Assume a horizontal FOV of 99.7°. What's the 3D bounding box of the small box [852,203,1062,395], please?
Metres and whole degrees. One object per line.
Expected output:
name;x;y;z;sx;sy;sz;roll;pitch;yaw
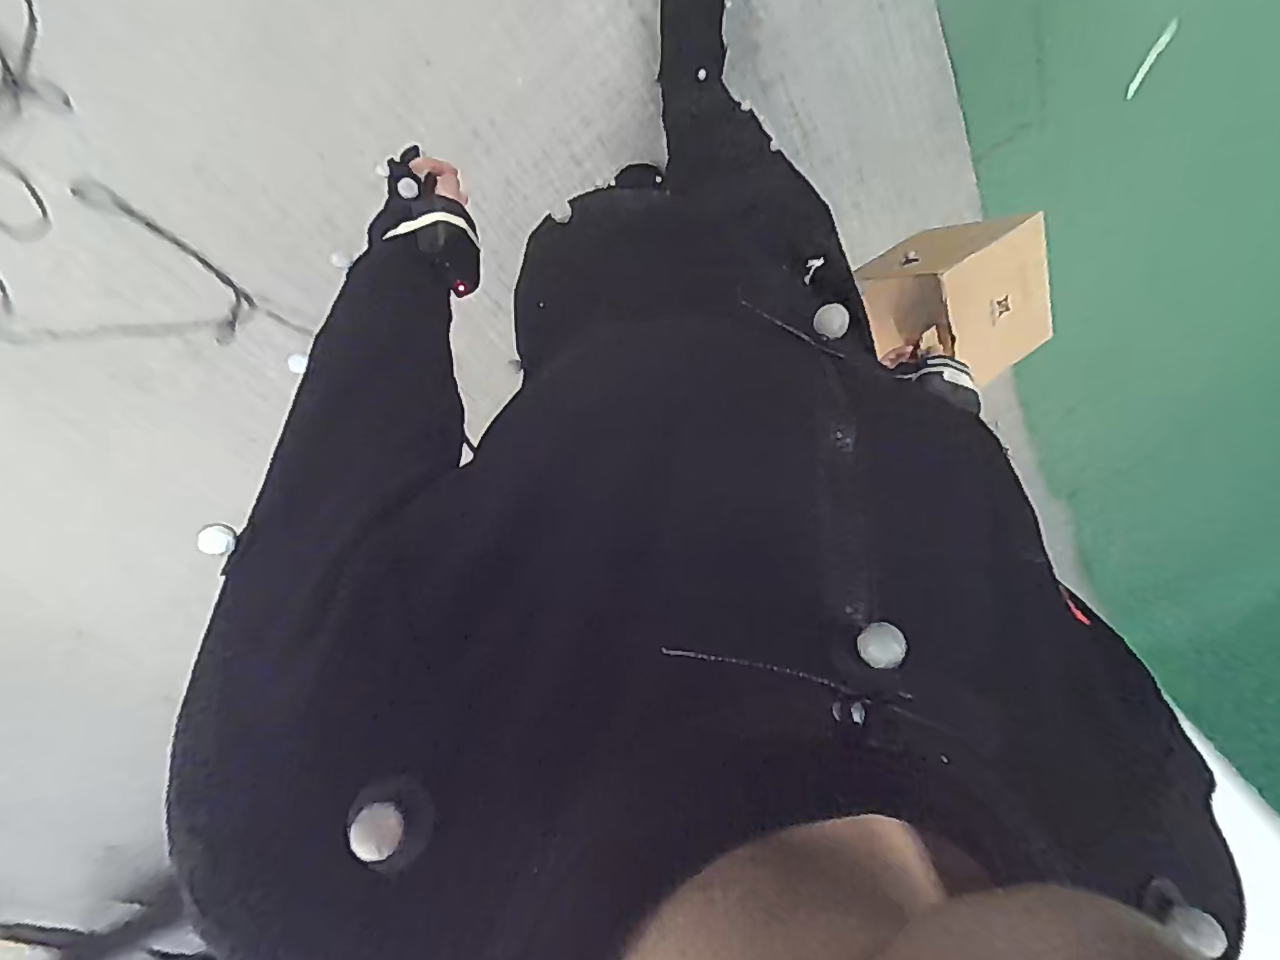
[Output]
small box;0.404;-0.231;0.709;0.179;0.176;0.168;-34;117;-13
